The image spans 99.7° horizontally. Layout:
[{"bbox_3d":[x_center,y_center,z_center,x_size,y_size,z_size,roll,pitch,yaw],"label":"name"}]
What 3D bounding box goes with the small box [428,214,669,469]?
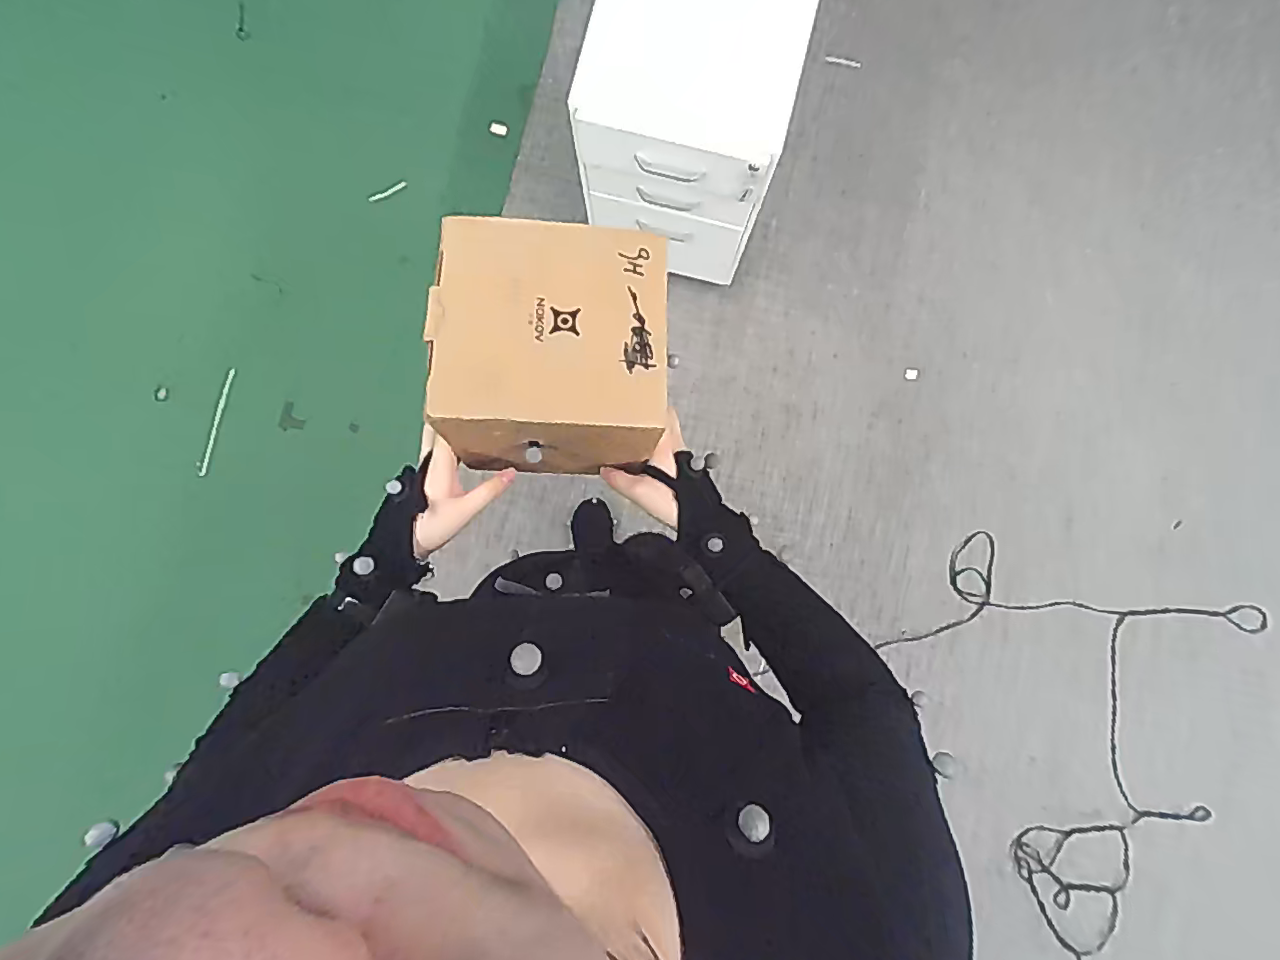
[{"bbox_3d":[-0.072,-0.108,0.489,0.179,0.176,0.168,2,78,-6],"label":"small box"}]
